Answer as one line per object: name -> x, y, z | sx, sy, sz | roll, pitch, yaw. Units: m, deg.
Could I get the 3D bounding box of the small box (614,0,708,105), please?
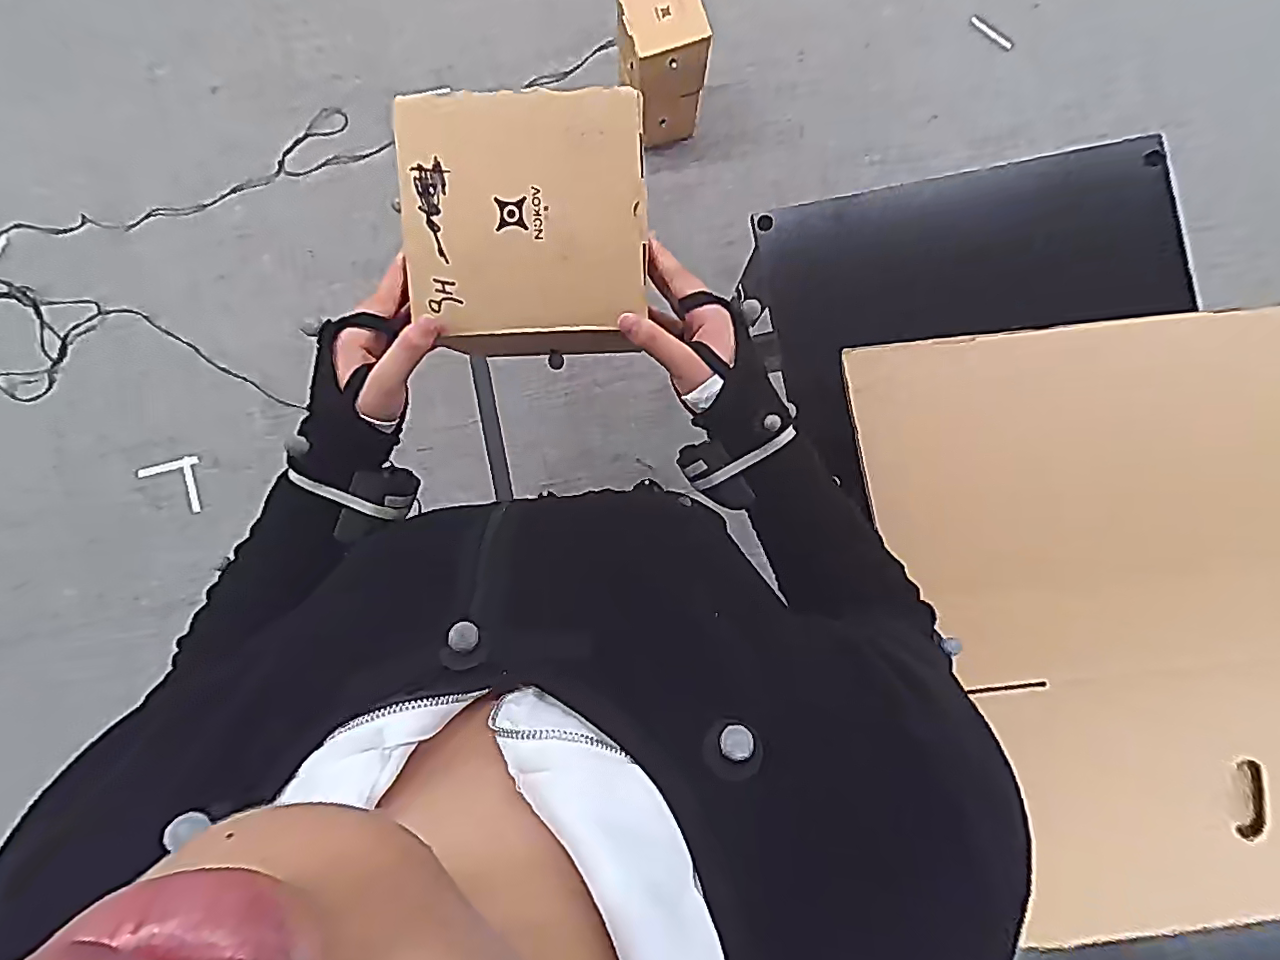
small box -> 0.048, -1.040, 1.291 | 0.179, 0.176, 0.168 | -18, 89, -1

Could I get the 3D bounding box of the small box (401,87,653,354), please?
small box -> -0.083, -0.204, 0.470 | 0.179, 0.176, 0.168 | -2, 96, -2

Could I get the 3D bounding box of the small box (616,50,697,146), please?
small box -> 0.041, -1.033, 1.454 | 0.179, 0.176, 0.168 | -16, 88, 0
